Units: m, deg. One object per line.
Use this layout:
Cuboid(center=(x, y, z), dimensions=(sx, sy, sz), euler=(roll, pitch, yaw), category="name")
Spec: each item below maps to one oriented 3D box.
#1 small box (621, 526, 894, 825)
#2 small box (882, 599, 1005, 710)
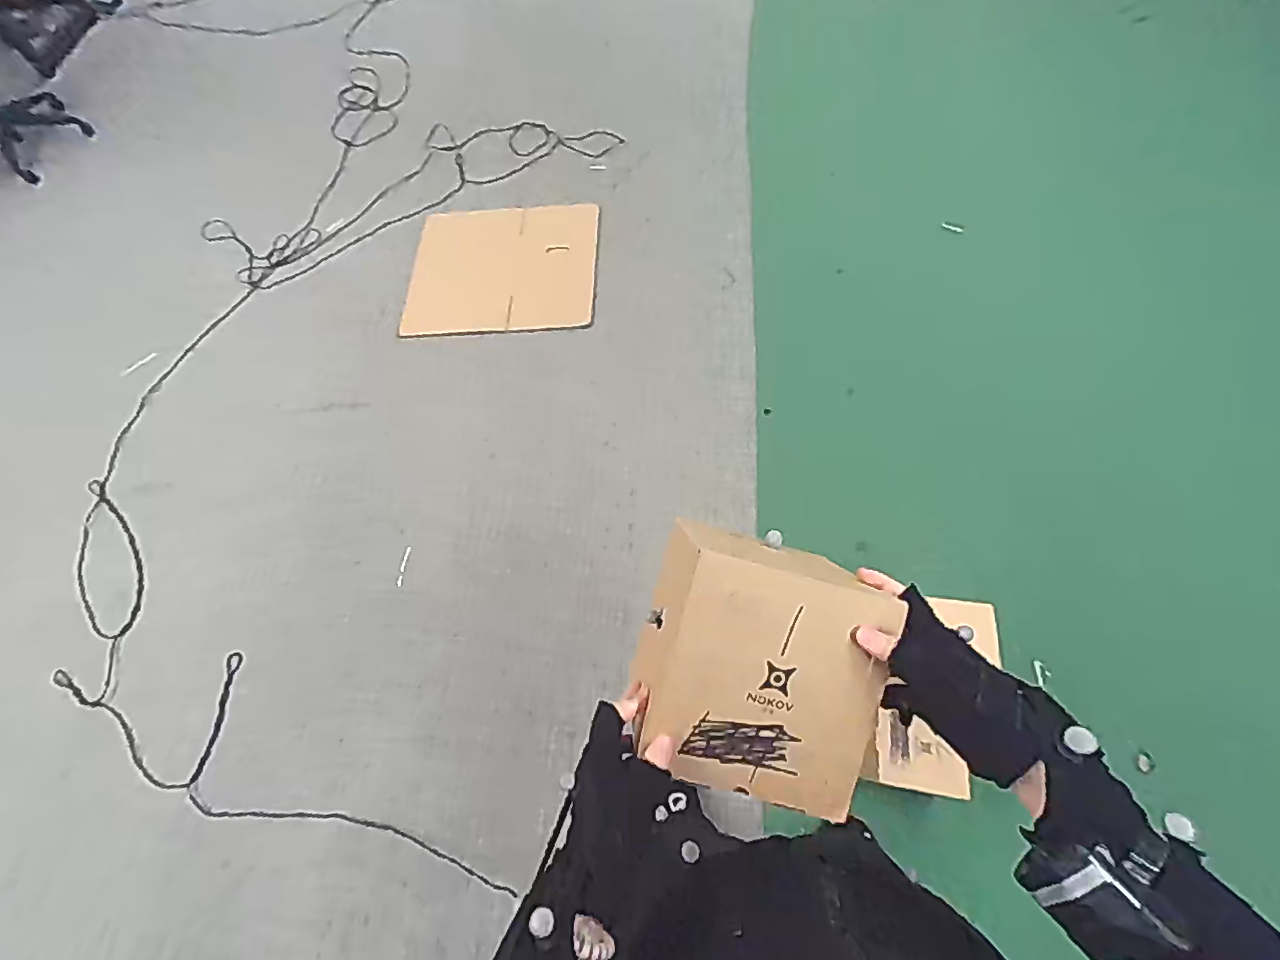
Cuboid(center=(0.085, 0.152, 0.478), dimensions=(0.168, 0.176, 0.179), euler=(15, 91, -3), category="small box")
Cuboid(center=(0.598, 0.356, 1.091), dimensions=(0.168, 0.176, 0.179), euler=(6, 66, 9), category="small box")
